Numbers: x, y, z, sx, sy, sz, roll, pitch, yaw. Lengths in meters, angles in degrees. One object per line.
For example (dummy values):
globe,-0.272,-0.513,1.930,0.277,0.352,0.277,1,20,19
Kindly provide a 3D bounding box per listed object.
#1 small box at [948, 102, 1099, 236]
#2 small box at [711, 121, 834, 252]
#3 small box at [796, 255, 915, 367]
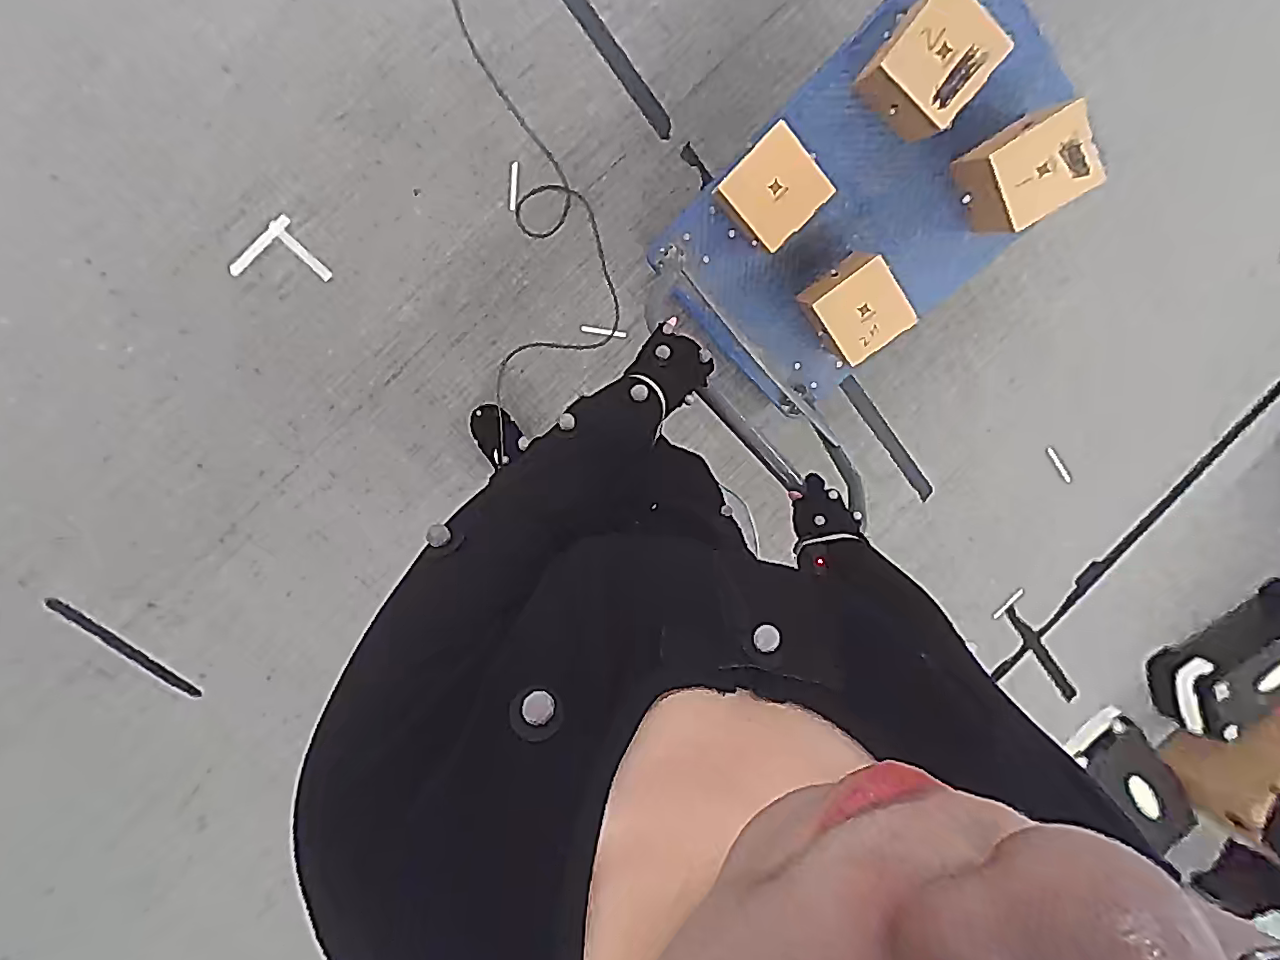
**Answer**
small box,0.783,-0.631,1.118,0.179,0.176,0.168,-30,110,15
small box,0.270,-0.609,1.145,0.179,0.176,0.168,42,108,-17
small box,0.482,-0.389,1.235,0.168,0.176,0.179,-35,108,16
